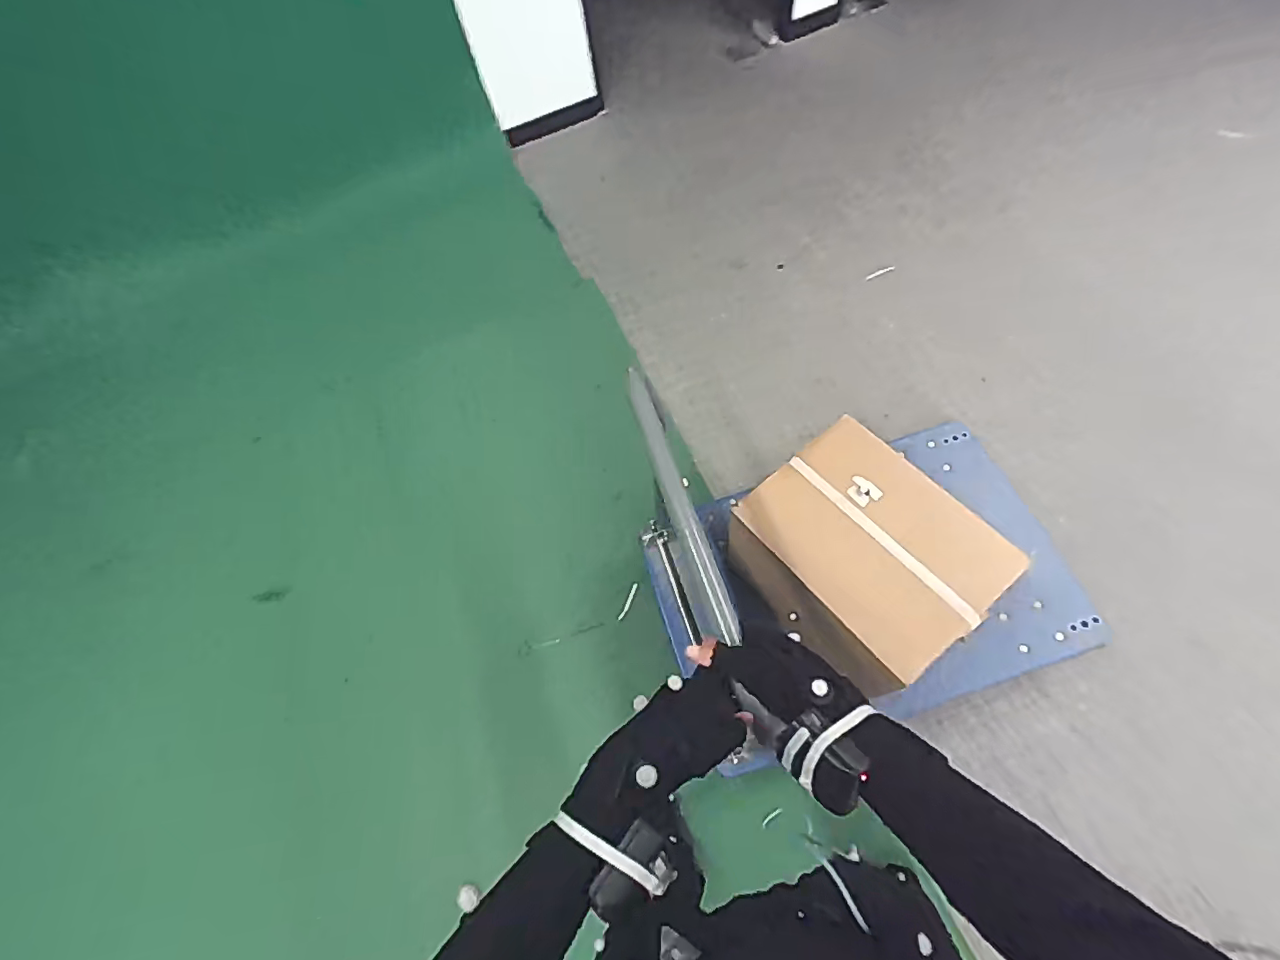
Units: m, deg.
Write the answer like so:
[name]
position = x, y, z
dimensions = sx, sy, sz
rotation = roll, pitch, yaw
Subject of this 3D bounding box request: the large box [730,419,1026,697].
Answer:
[large box]
position = 0.430, 0.164, 1.086
dimensions = 0.320, 0.320, 0.408
rotation = -37, 64, -11
